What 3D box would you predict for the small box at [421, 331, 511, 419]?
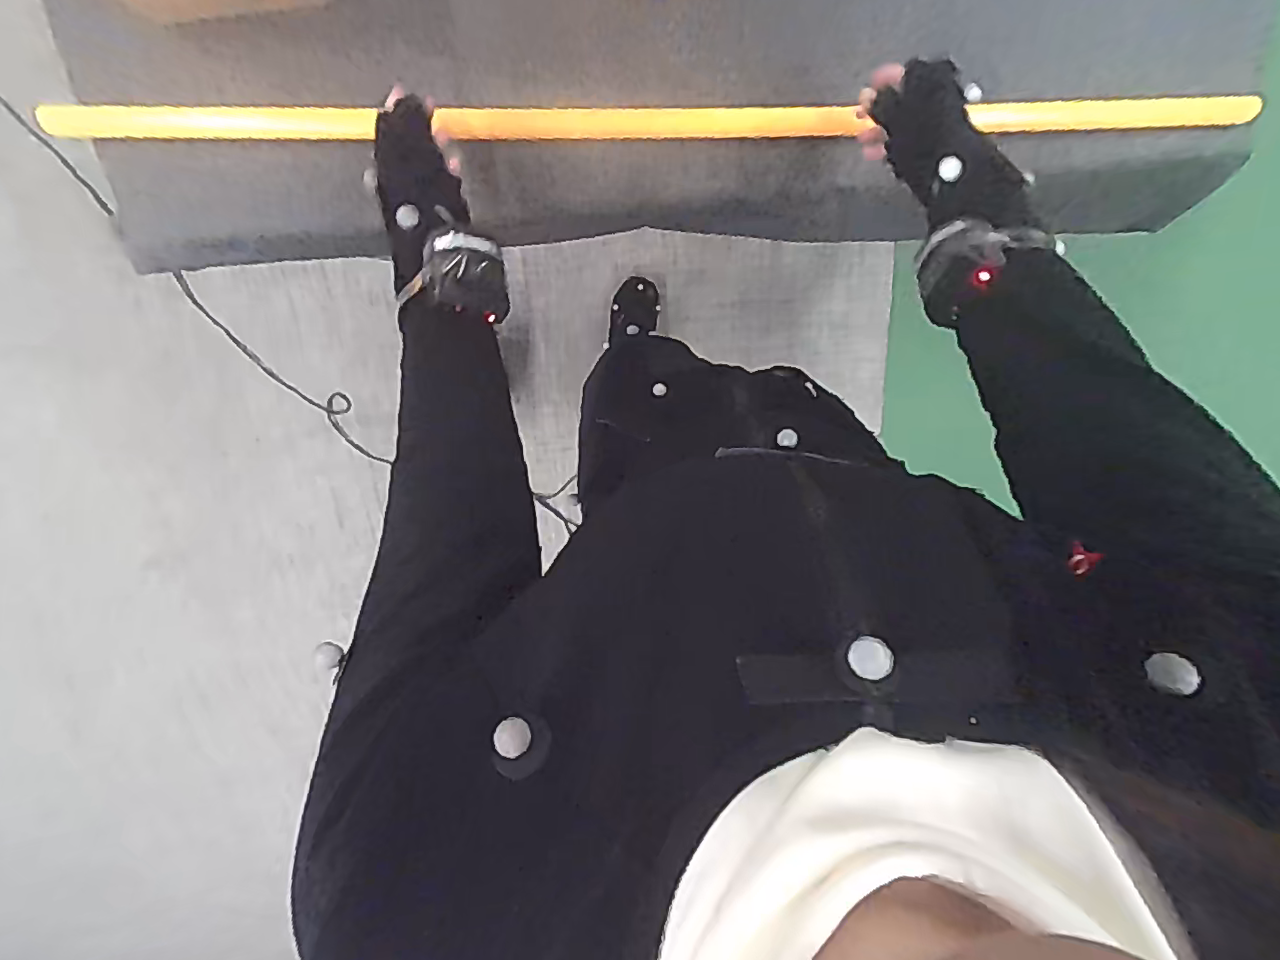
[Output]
[{"bbox_3d":[-0.398,-0.249,1.258,0.168,0.176,0.179,3,110,-4],"label":"small box"}]
